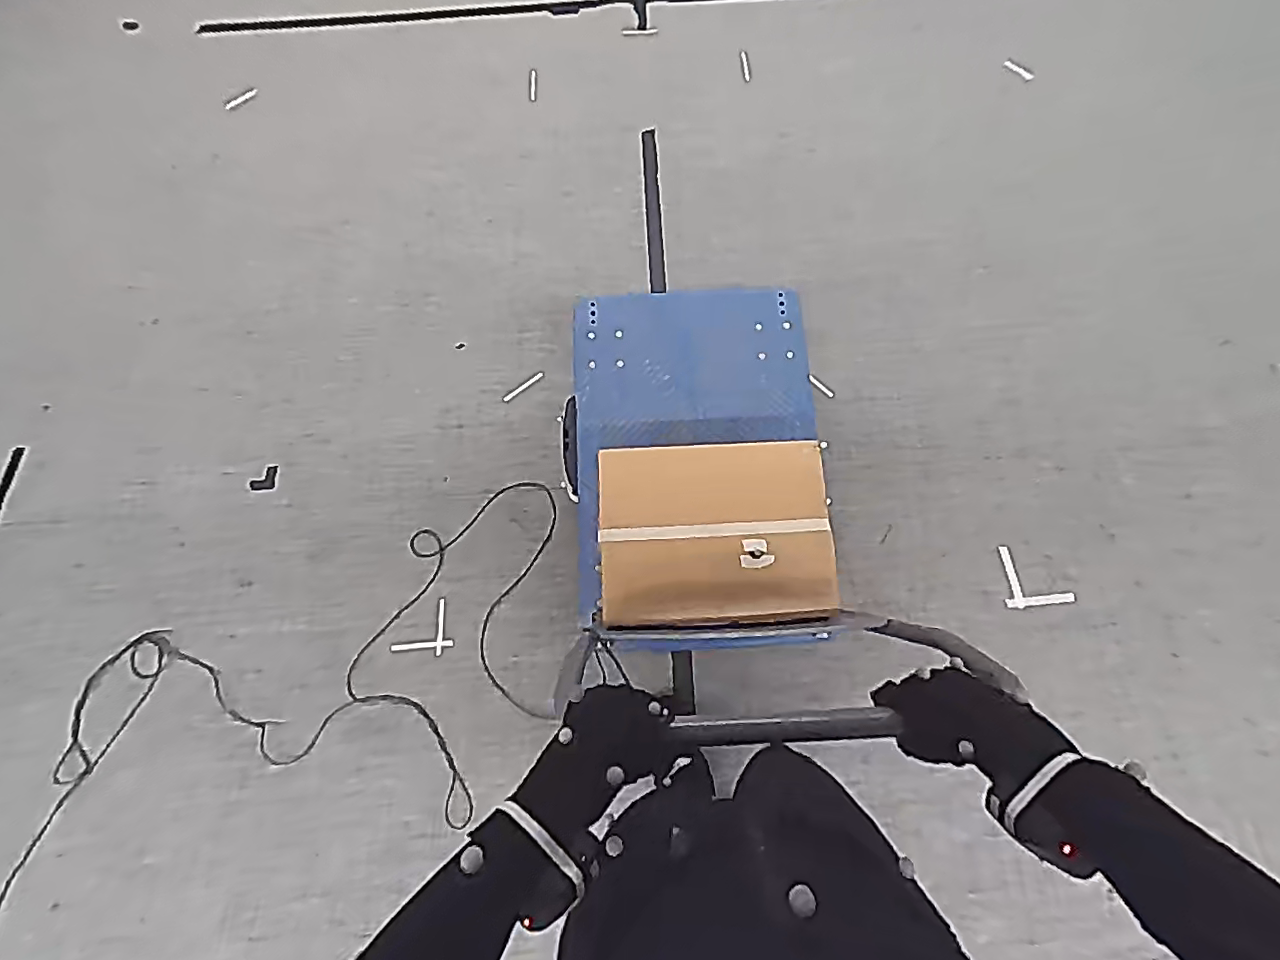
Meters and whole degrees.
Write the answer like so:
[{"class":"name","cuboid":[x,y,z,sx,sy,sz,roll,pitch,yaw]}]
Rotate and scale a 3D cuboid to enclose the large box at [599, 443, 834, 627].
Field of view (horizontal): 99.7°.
[{"class":"large box","cuboid":[0.129,0.126,1.114,0.408,0.320,0.320,-3,77,-1]}]
